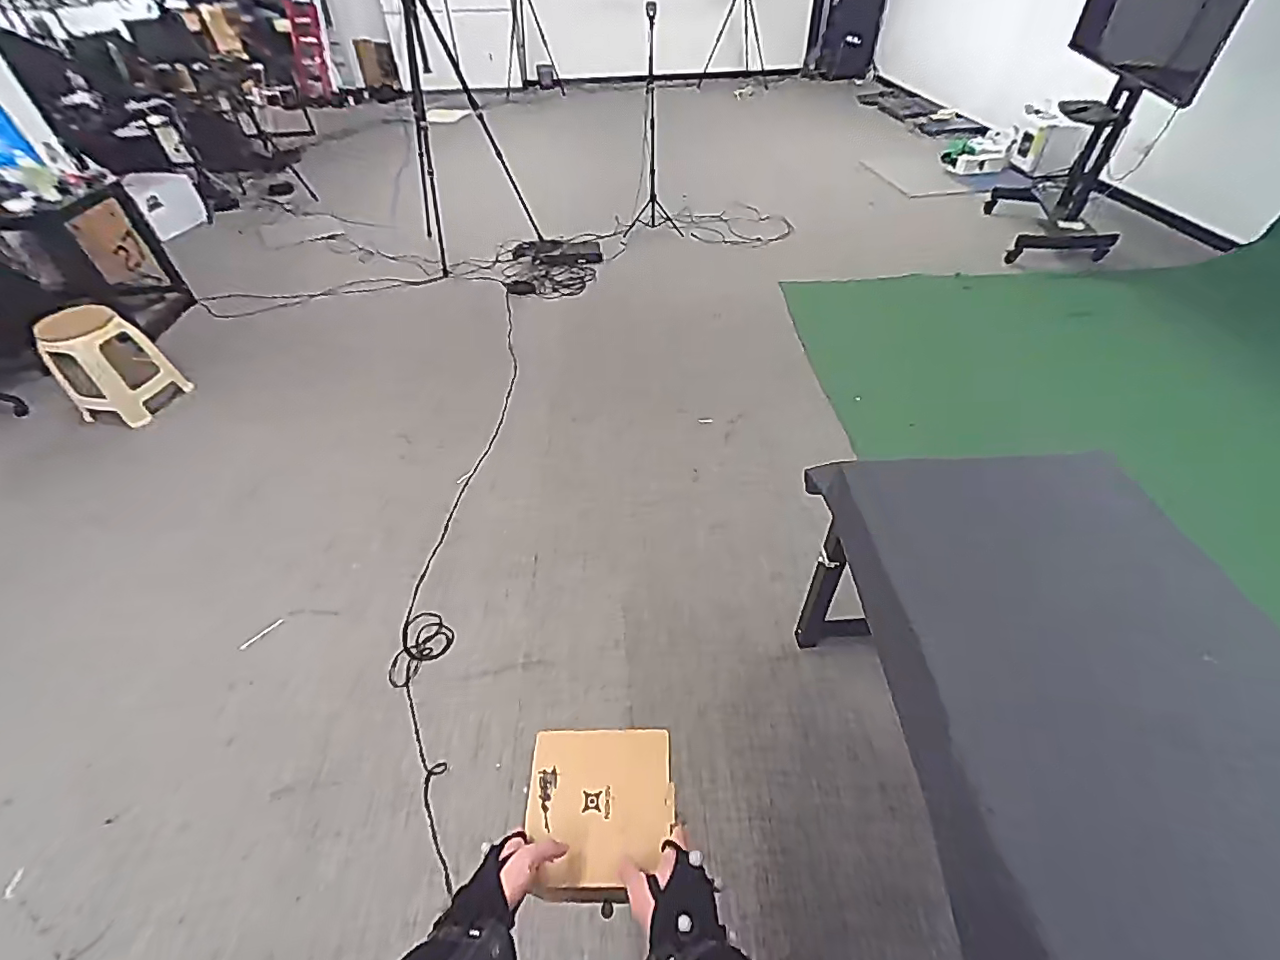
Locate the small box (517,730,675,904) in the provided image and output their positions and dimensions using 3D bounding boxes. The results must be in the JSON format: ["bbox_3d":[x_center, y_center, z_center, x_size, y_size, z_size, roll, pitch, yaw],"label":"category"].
[{"bbox_3d":[-0.044,0.440,0.705,0.179,0.176,0.168,-1,47,3],"label":"small box"}]
